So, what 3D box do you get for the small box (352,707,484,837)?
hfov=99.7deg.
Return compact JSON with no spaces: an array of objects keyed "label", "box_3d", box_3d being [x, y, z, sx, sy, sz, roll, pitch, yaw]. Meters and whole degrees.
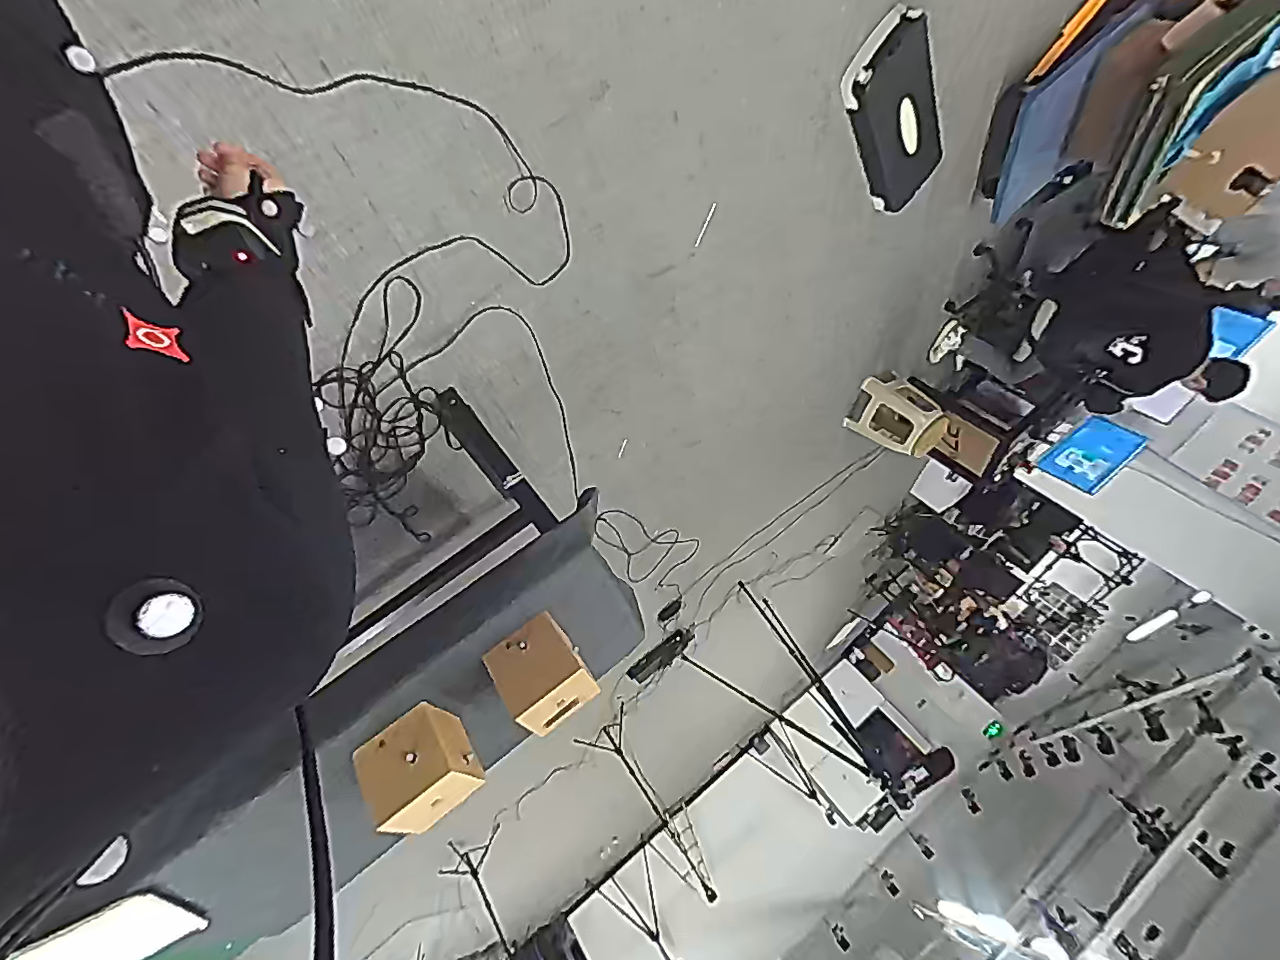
[{"label":"small box","box_3d":[-0.464,0.607,1.132,0.168,0.176,0.179,-36,147,-14]}]
